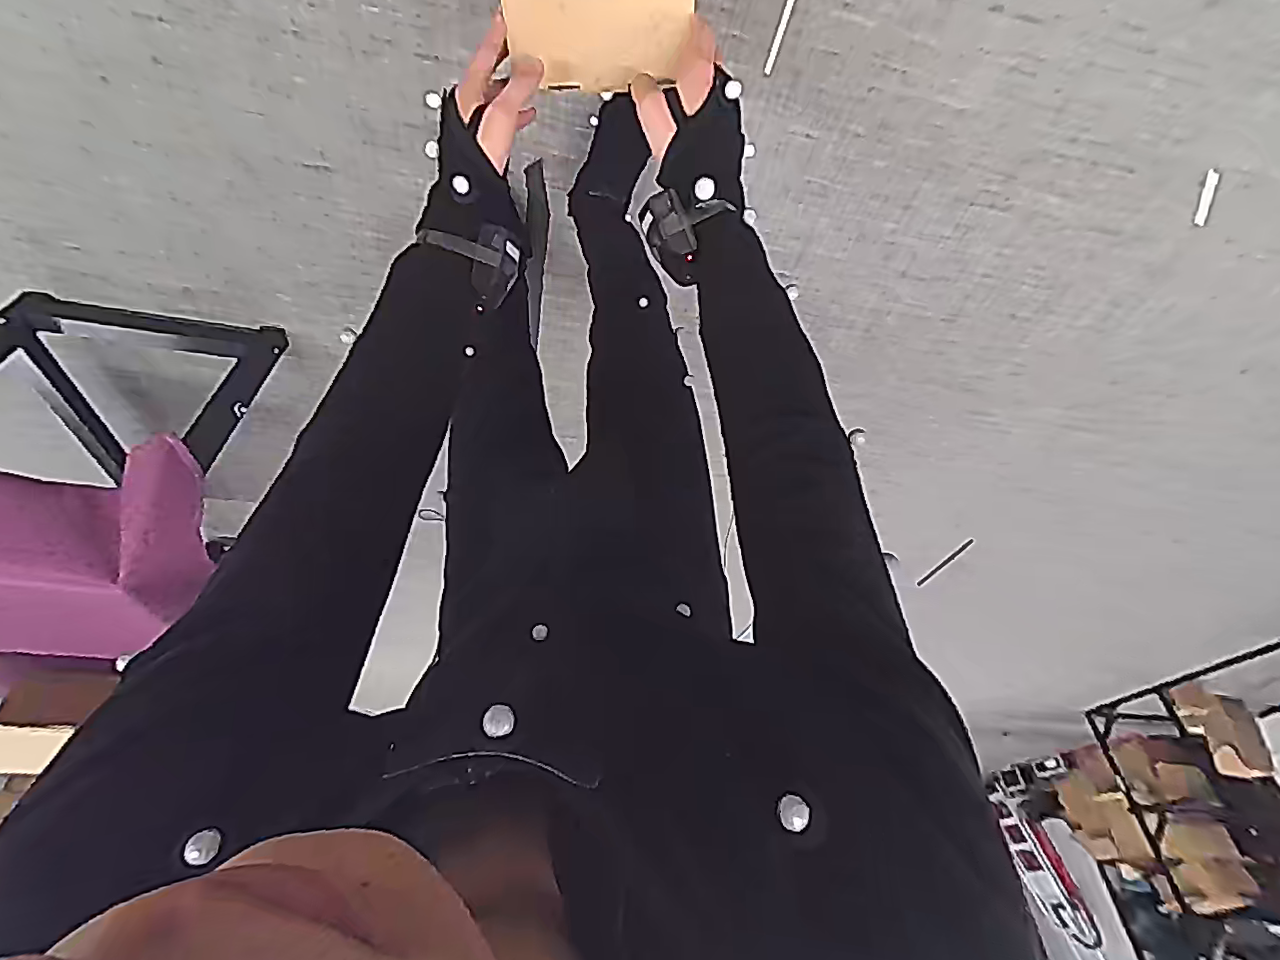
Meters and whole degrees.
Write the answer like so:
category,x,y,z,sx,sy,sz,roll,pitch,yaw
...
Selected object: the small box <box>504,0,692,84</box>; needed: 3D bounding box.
category,x,y,z,sx,sy,sz,roll,pitch,yaw
small box,-0.037,-0.488,0.500,0.168,0.176,0.179,-2,132,0
